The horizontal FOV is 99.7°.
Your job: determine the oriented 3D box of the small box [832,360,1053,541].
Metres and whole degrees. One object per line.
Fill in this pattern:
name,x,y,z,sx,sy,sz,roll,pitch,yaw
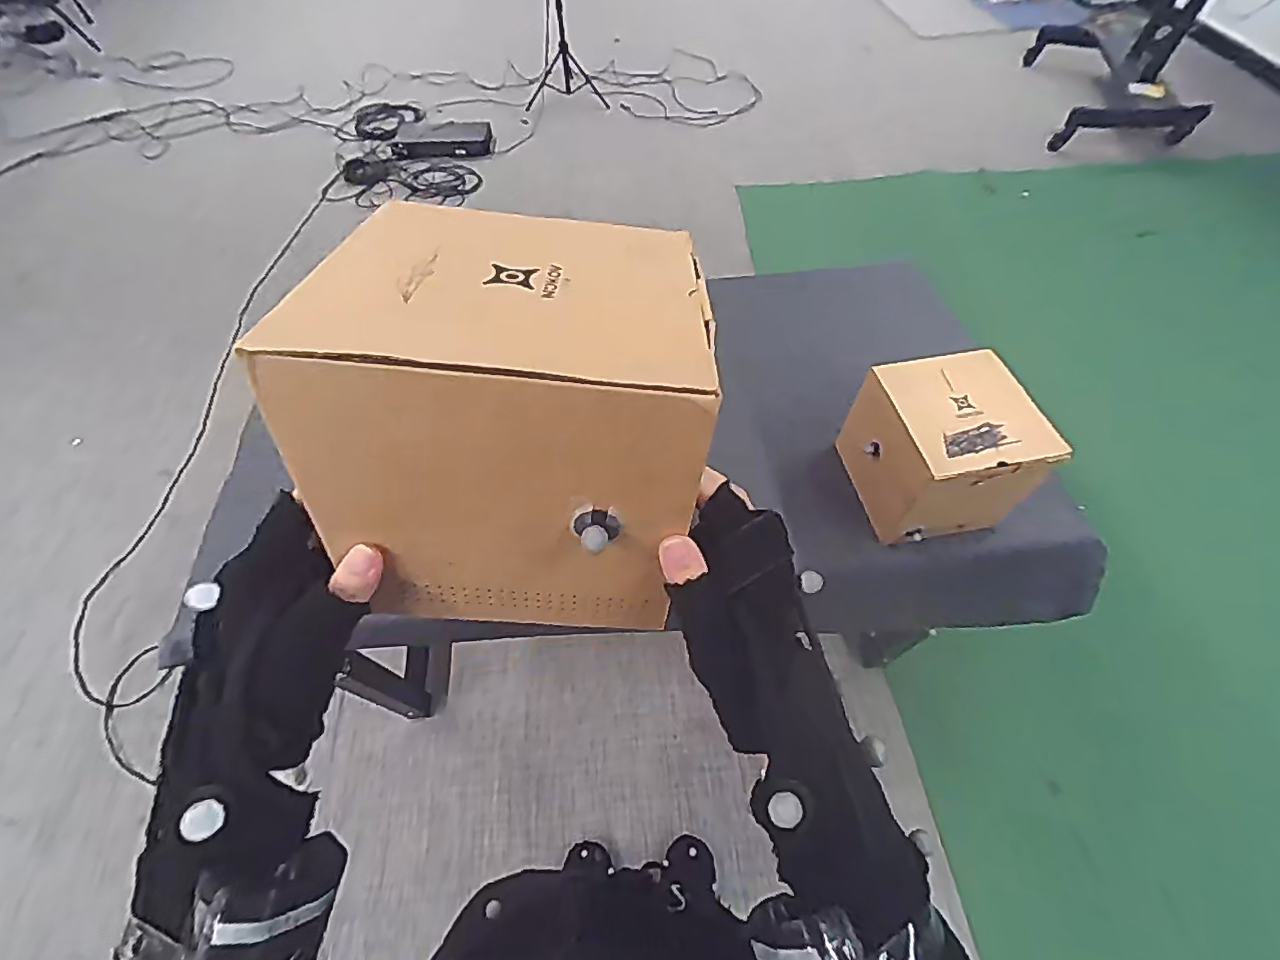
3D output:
small box,0.383,-0.031,0.724,0.168,0.176,0.179,-8,56,-5

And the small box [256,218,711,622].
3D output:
small box,-0.065,-0.032,0.319,0.179,0.176,0.168,3,42,-4
